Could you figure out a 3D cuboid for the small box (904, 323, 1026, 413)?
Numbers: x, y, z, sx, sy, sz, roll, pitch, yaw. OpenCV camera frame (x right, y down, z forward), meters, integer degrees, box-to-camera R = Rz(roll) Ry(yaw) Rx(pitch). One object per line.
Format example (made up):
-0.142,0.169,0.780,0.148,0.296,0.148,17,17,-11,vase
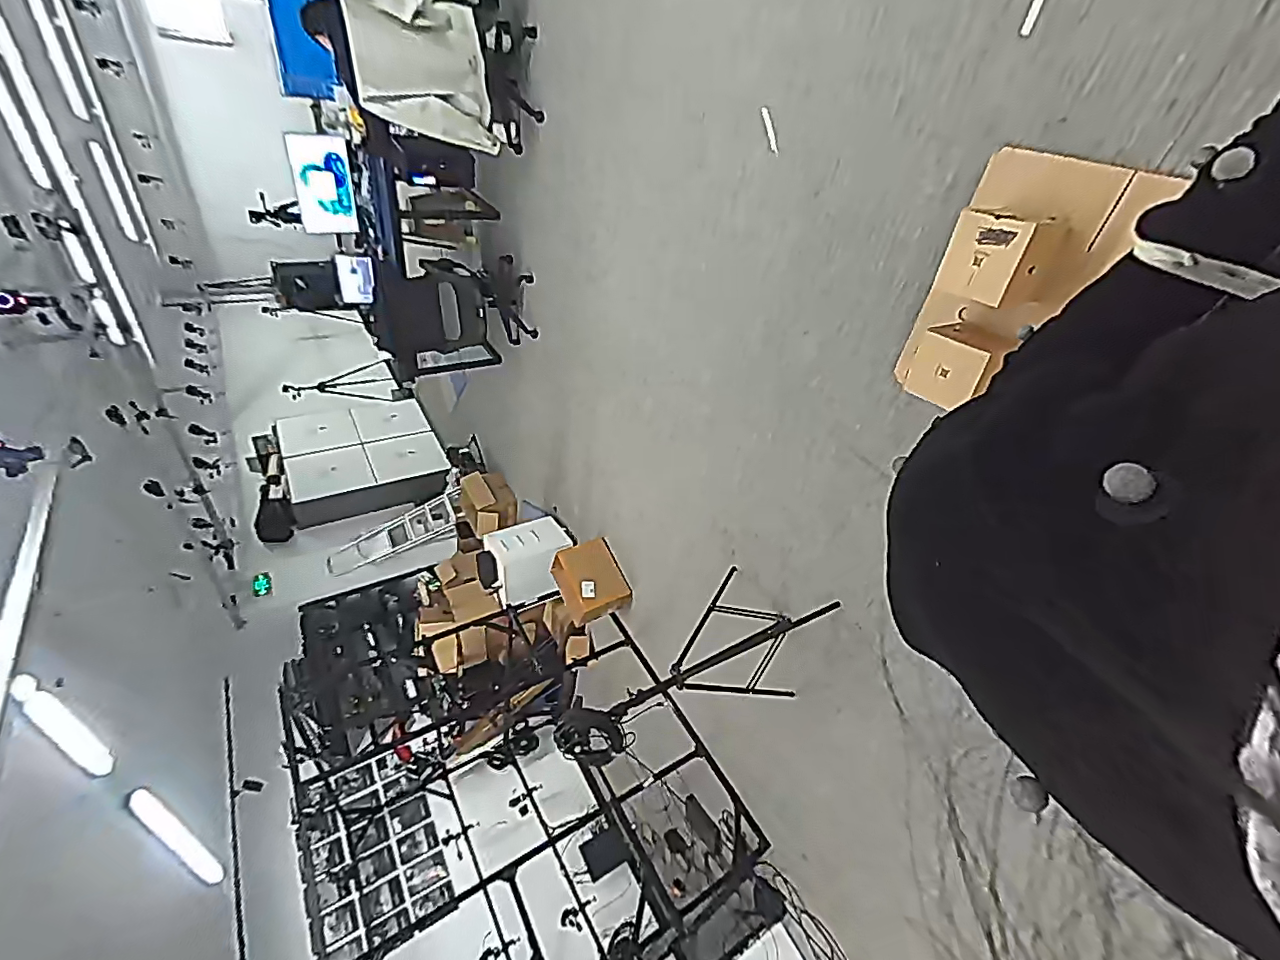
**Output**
0.814,-0.289,1.361,0.179,0.176,0.168,42,139,42,small box

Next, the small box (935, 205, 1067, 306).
0.823,-0.515,1.231,0.168,0.176,0.179,44,139,41,small box
